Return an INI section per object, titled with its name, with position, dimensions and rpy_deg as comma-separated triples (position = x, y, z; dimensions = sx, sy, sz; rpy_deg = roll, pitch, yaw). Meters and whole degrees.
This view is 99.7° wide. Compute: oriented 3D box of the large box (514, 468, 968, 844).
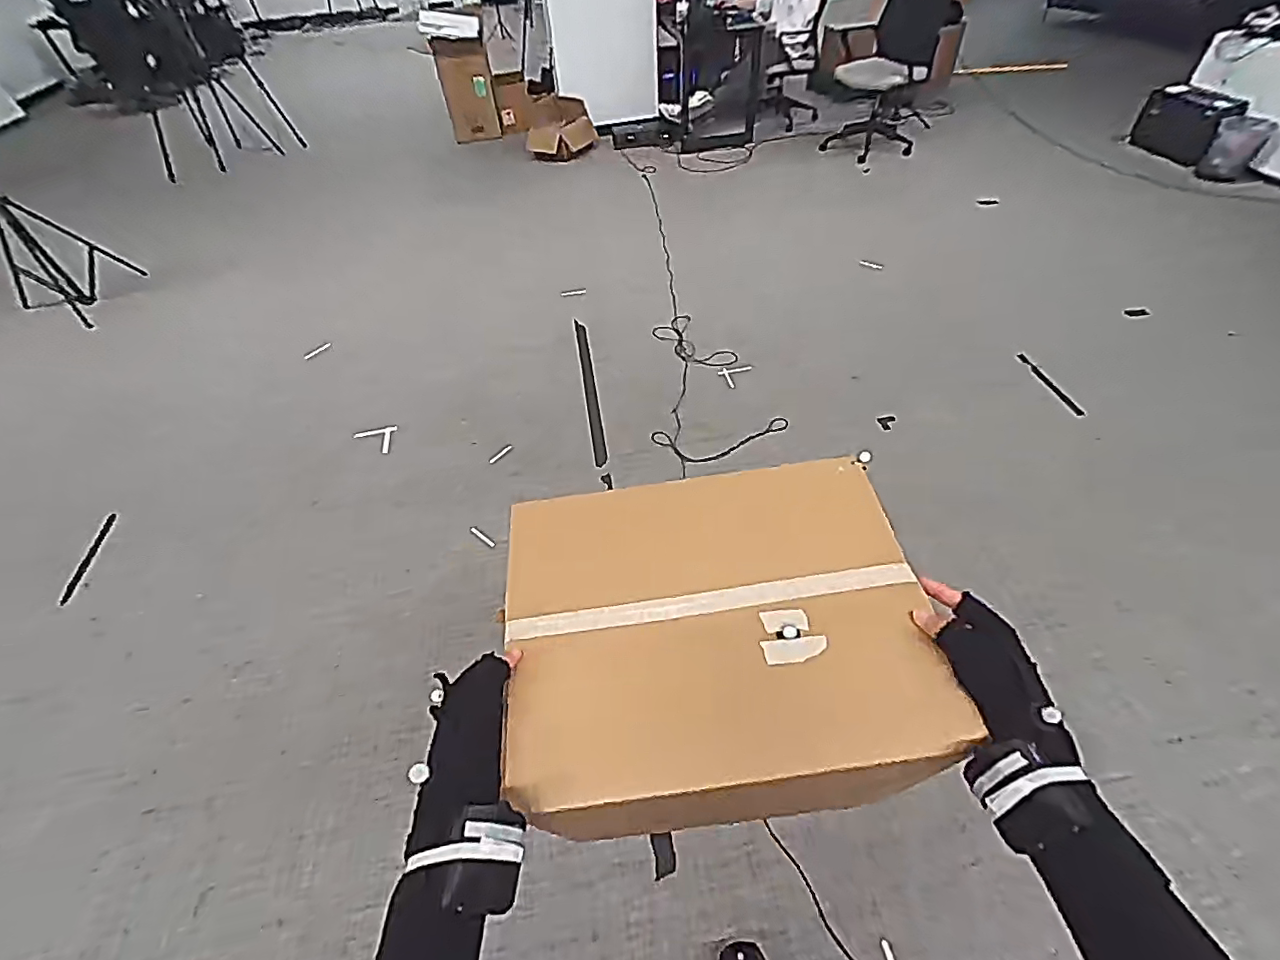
[large box]
position = 0.080, 0.224, 0.666
dimensions = 0.408, 0.320, 0.320
rpy_deg = -8, 53, -1
